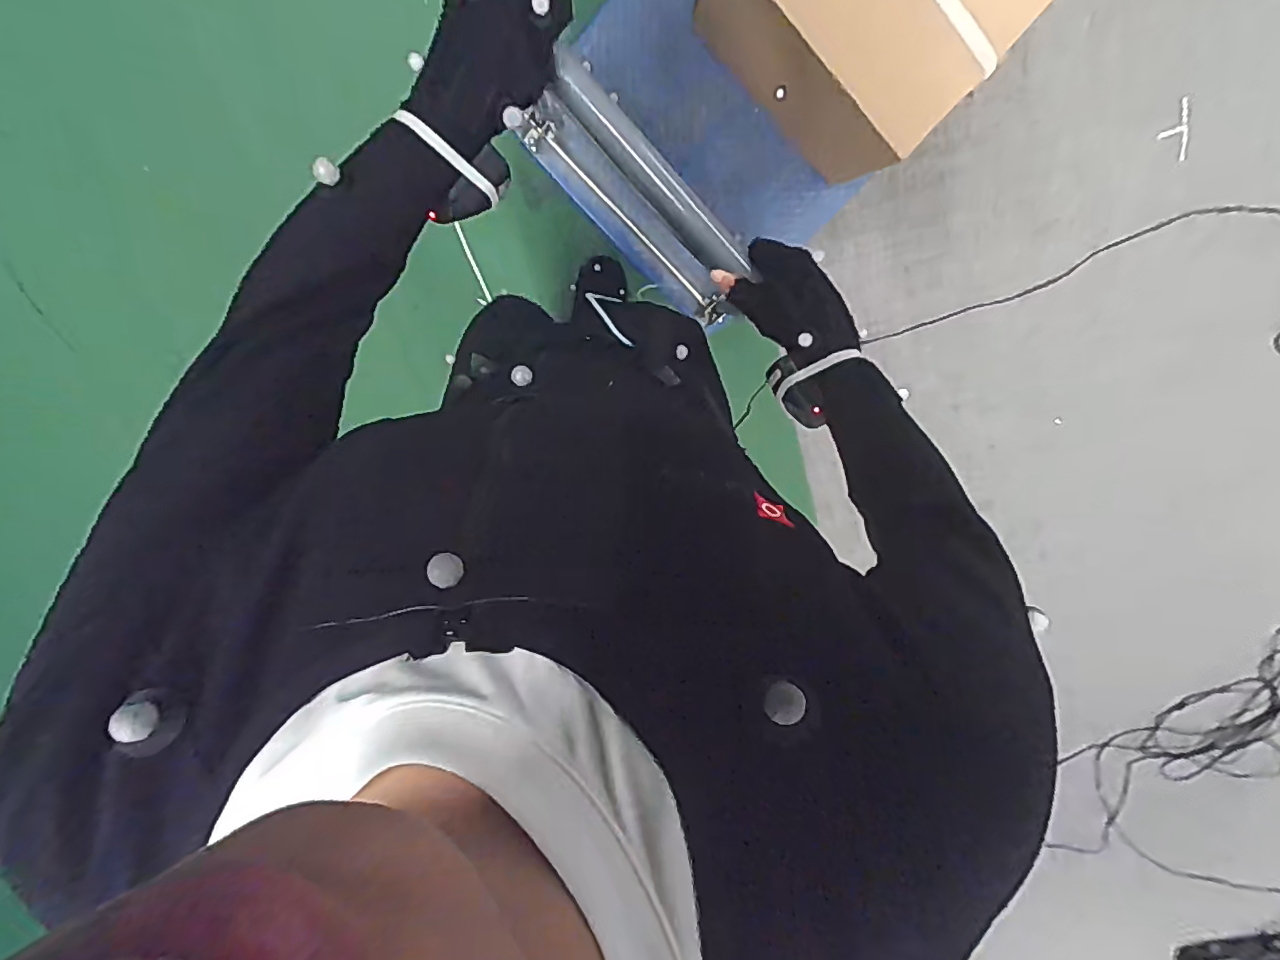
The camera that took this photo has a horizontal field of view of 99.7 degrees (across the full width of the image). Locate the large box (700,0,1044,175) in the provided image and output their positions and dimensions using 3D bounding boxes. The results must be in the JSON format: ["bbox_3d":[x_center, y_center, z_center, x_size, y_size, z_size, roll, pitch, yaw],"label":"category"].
[{"bbox_3d":[0.353,-0.777,0.865,0.408,0.320,0.320,39,106,-15],"label":"large box"}]
